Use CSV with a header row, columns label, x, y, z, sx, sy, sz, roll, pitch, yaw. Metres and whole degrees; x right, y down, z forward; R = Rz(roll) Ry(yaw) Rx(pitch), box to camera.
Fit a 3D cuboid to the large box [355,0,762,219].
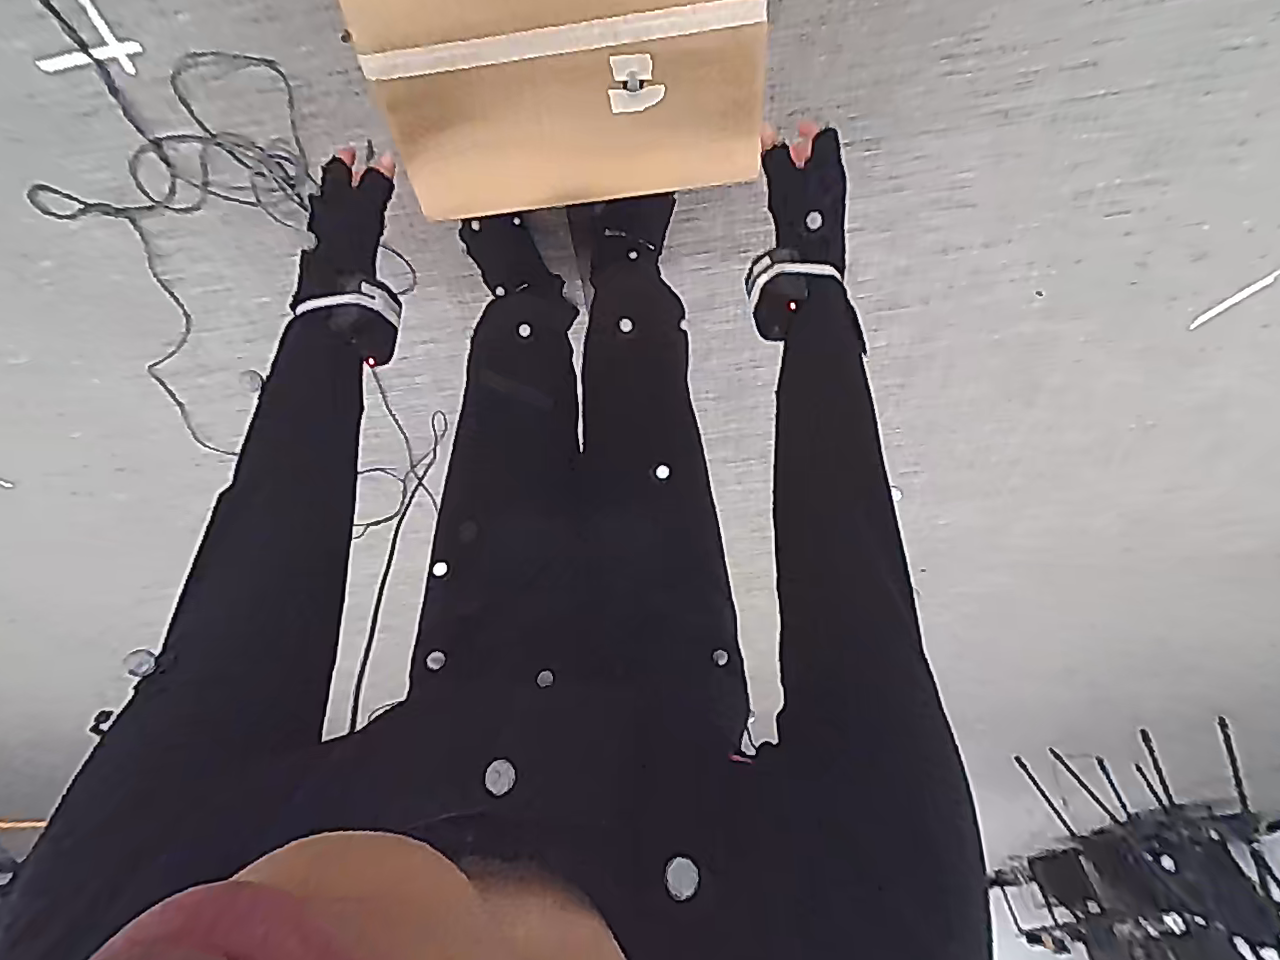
label,x,y,z,sx,sy,sz,roll,pitch,yaw
large box,-0.083,-0.558,0.652,0.408,0.320,0.320,-7,137,3
